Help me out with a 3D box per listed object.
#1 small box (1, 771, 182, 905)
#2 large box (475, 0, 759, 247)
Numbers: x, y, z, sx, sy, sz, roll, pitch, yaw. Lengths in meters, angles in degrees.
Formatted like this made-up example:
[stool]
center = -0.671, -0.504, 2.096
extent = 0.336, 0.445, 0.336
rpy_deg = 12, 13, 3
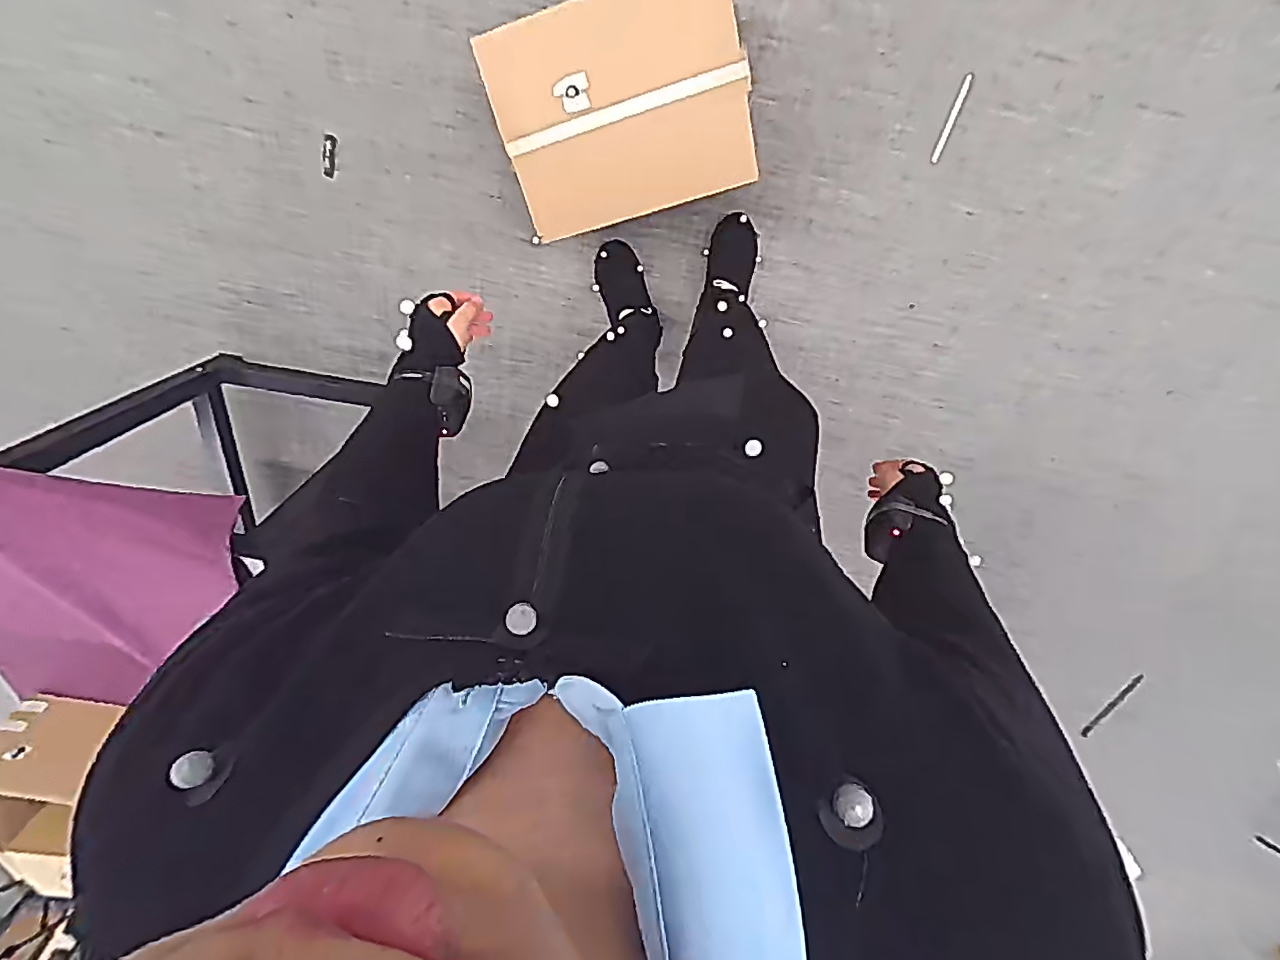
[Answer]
[small box]
center = -1.098, 0.724, 1.102
extent = 0.168, 0.176, 0.179
rpy_deg = 7, 121, -2
[large box]
center = -0.018, -0.673, 1.001
extent = 0.408, 0.320, 0.320
rpy_deg = -11, 120, 12
